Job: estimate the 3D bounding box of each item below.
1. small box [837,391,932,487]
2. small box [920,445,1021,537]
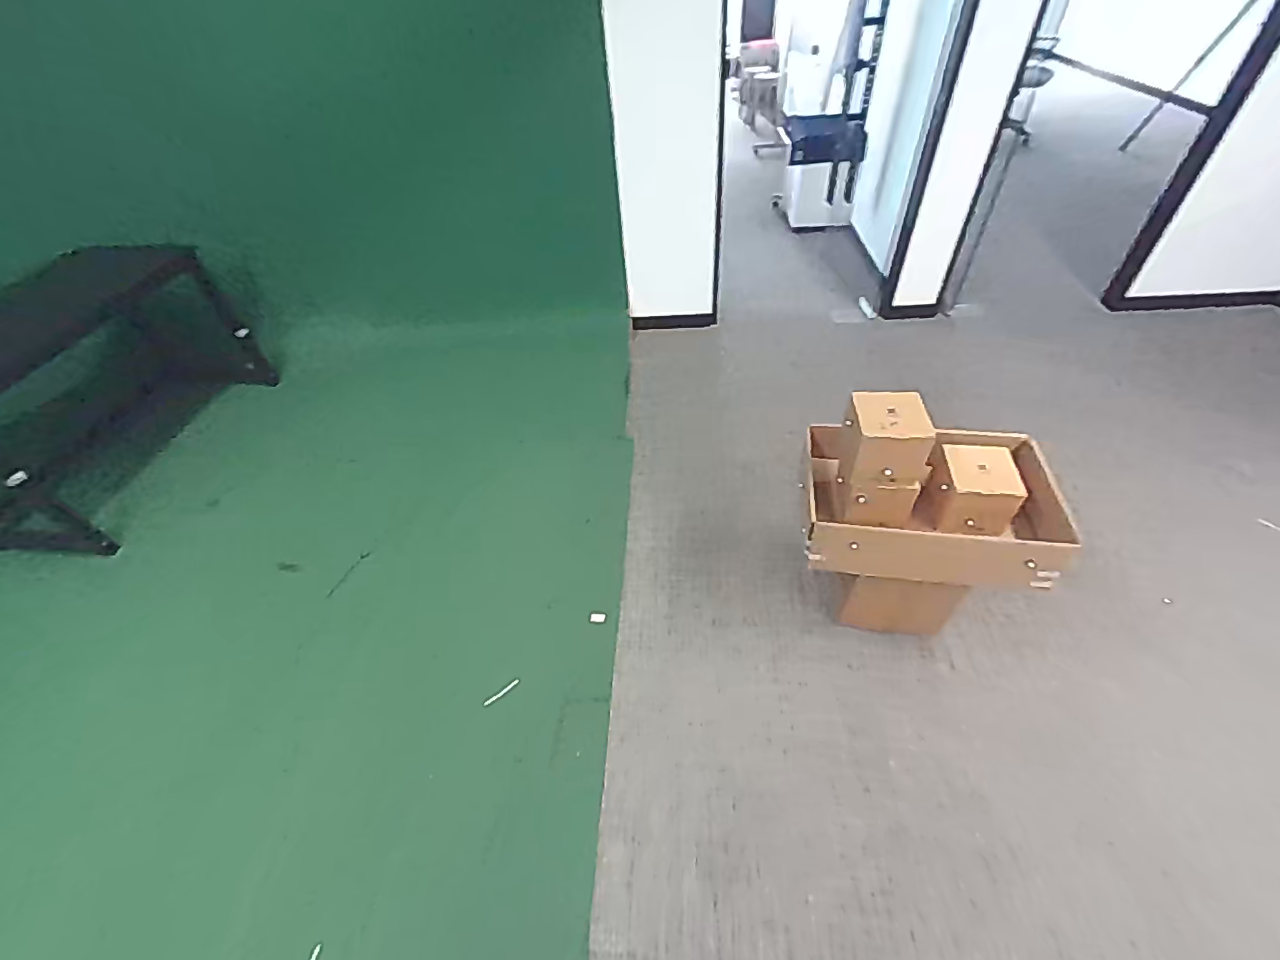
[{"bbox_3d":[0.611,-0.105,1.377,0.168,0.176,0.179,2,47,6],"label":"small box"},{"bbox_3d":[0.881,0.029,1.462,0.168,0.176,0.179,4,49,8],"label":"small box"}]
